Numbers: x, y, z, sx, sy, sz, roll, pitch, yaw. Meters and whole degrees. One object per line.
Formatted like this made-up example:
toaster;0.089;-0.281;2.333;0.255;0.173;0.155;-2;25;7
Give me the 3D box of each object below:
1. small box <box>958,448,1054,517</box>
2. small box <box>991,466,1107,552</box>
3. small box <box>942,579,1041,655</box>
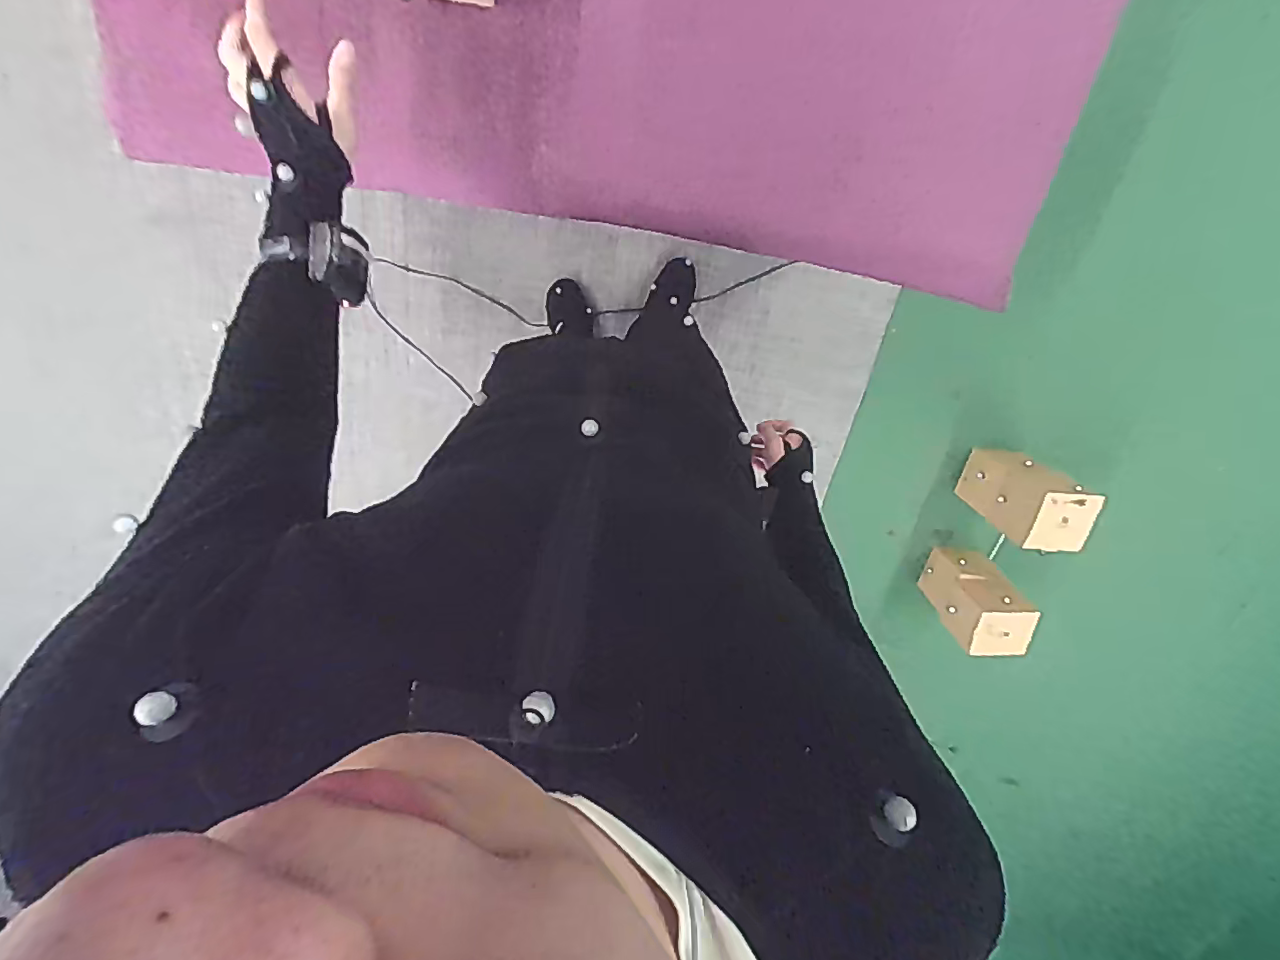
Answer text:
small box;1.122;0.012;1.658;0.179;0.176;0.168;7;115;-5
small box;1.127;0.079;1.509;0.168;0.176;0.179;5;116;-4
small box;1.079;0.420;1.673;0.179;0.176;0.168;0;115;0
